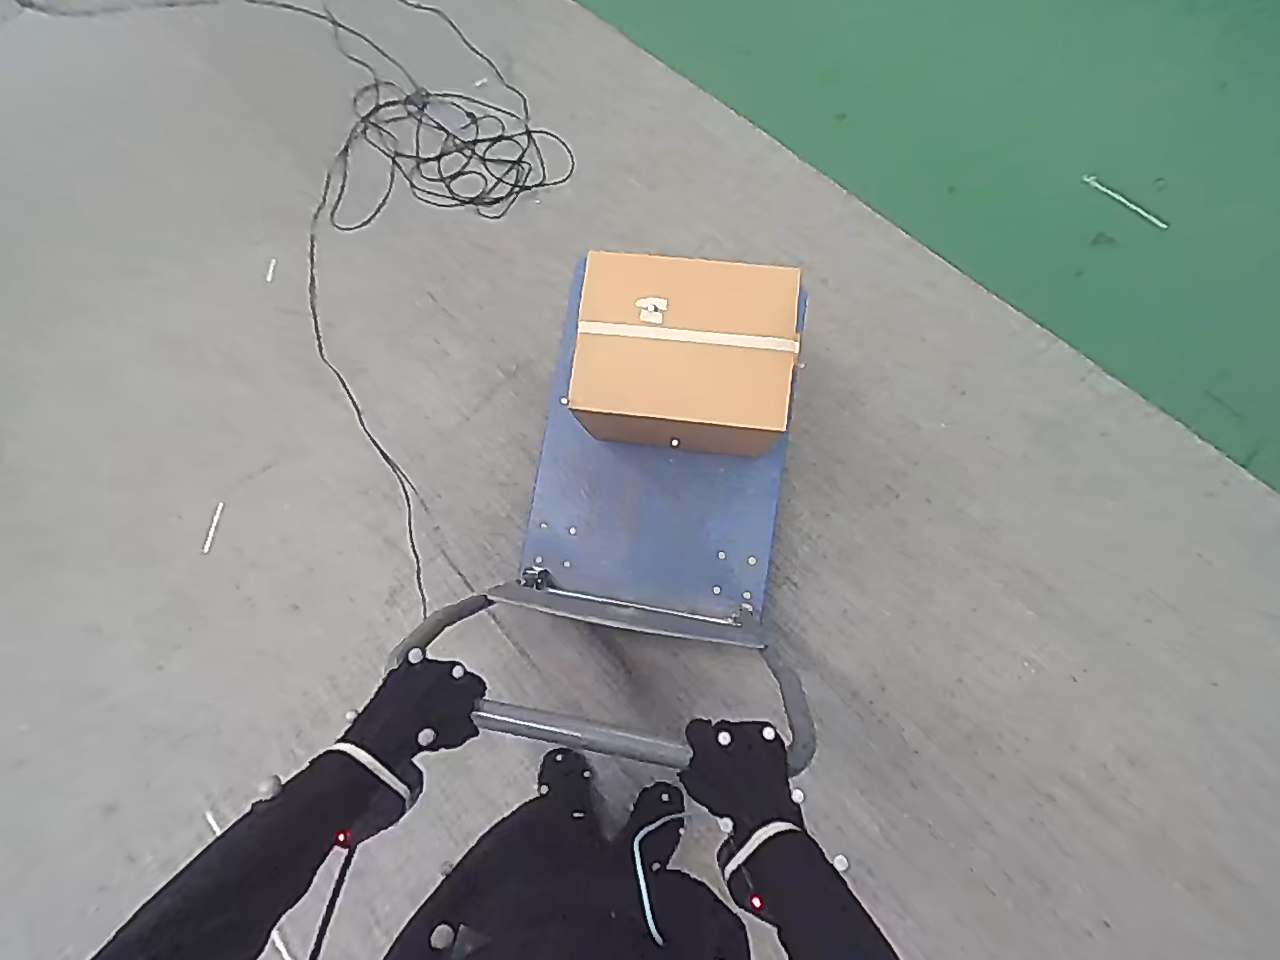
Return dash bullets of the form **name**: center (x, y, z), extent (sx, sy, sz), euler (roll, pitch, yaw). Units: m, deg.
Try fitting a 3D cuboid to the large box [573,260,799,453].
- **large box**: center (0.100, -0.239, 1.146), extent (0.408, 0.320, 0.320), euler (6, 84, 6)
